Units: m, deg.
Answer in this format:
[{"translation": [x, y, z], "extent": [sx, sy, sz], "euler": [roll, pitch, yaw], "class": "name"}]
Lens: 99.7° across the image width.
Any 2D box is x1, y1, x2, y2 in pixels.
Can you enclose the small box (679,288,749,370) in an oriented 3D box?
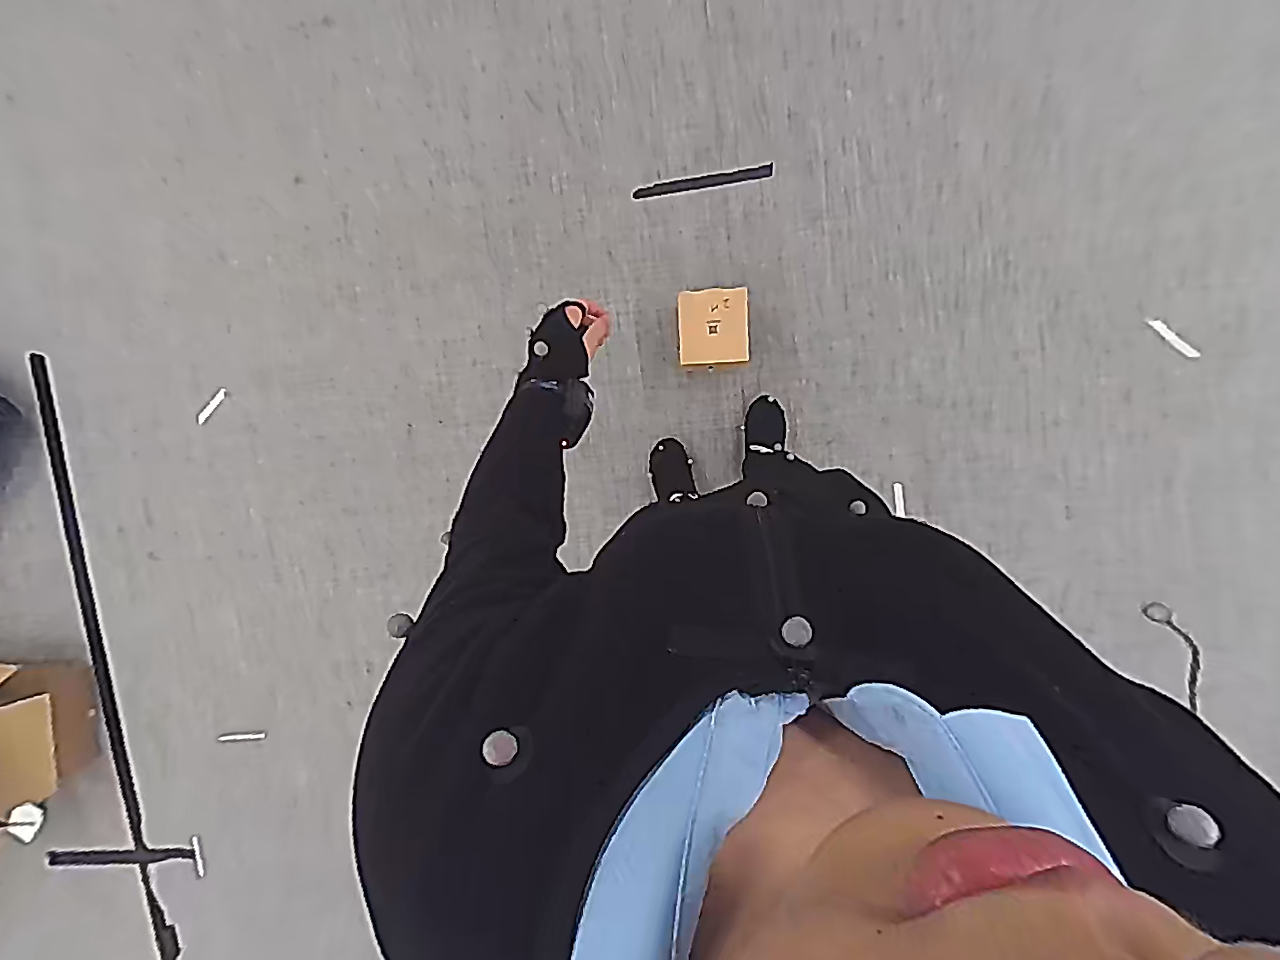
[{"translation": [0.183, -0.373, 1.363], "extent": [0.168, 0.176, 0.179], "euler": [-2, 95, 4], "class": "small box"}]
